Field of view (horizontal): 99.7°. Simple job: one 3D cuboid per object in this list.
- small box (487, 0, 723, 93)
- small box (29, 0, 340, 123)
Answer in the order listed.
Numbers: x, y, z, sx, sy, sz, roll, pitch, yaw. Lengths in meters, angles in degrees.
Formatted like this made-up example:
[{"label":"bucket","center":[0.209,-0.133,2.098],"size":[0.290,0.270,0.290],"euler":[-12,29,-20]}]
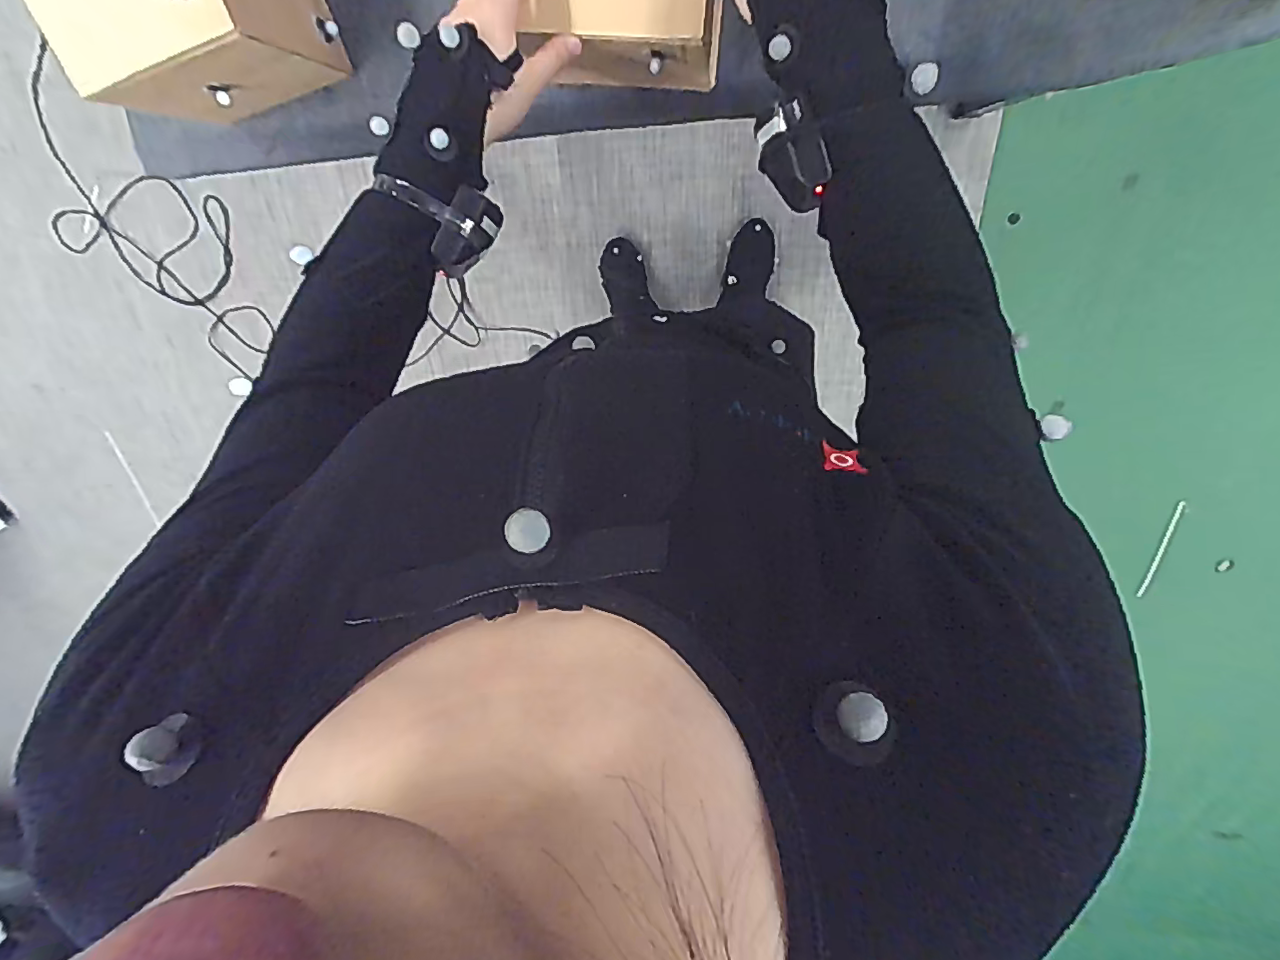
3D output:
[{"label":"small box","center":[-0.018,-0.444,0.456],"size":[0.179,0.176,0.168],"euler":[6,117,5]},{"label":"small box","center":[-0.418,-0.455,0.500],"size":[0.179,0.176,0.168],"euler":[-10,115,13]}]
